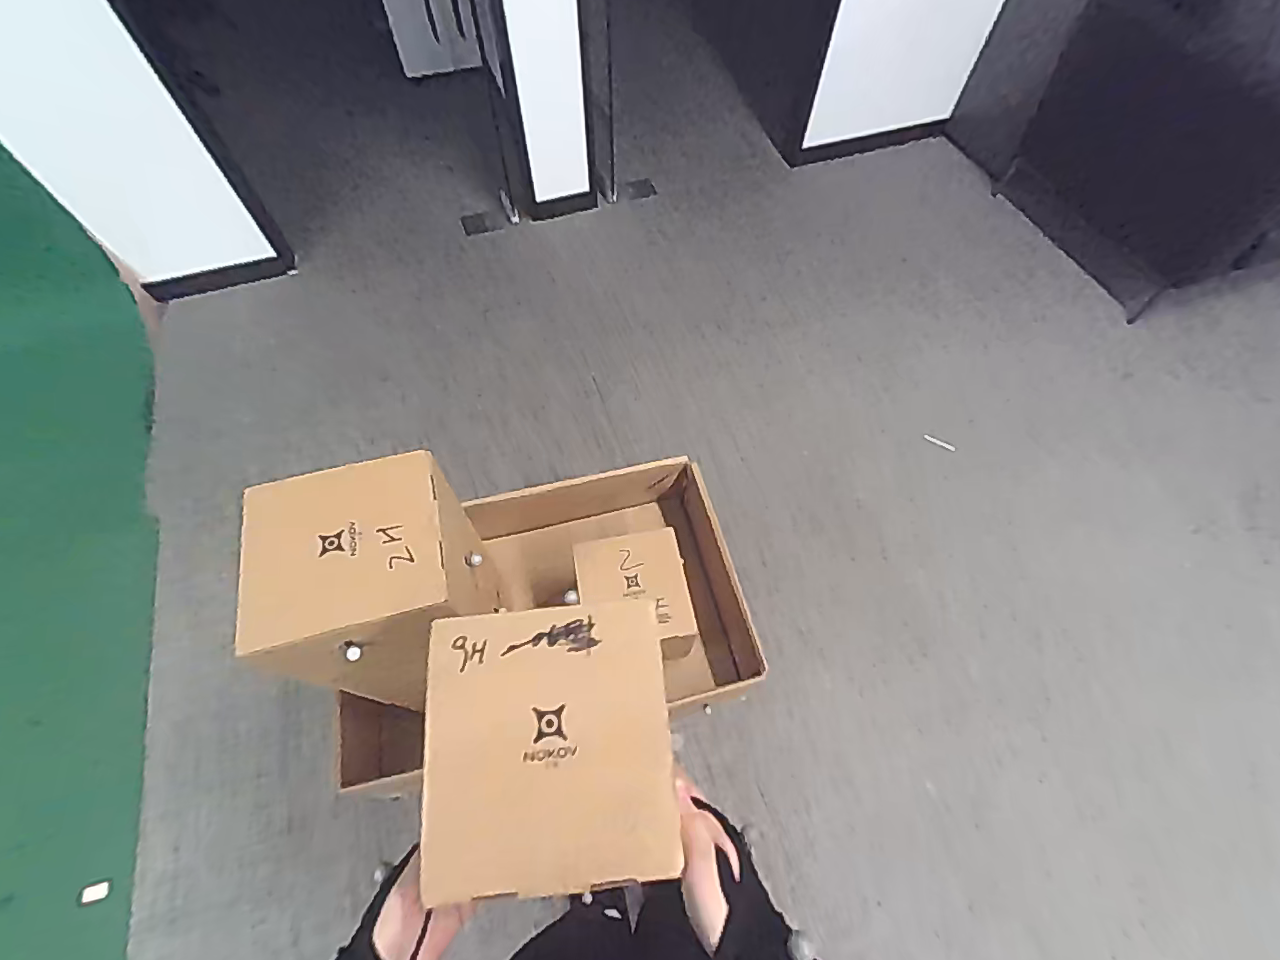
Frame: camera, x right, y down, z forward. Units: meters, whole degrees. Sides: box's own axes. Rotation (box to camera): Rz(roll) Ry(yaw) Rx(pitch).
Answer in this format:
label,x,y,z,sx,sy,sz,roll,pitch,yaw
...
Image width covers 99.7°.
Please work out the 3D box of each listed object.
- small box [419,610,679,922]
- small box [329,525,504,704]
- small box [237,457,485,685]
label,x,y,z,sx,sy,sz,roll,pitch,yaw
small box,-0.064,0.210,0.437,0.168,0.176,0.179,-5,69,-4
small box,-0.282,0.182,0.712,0.179,0.176,0.168,-12,62,-10
small box,-0.274,0.103,0.567,0.179,0.176,0.168,-12,62,-10
